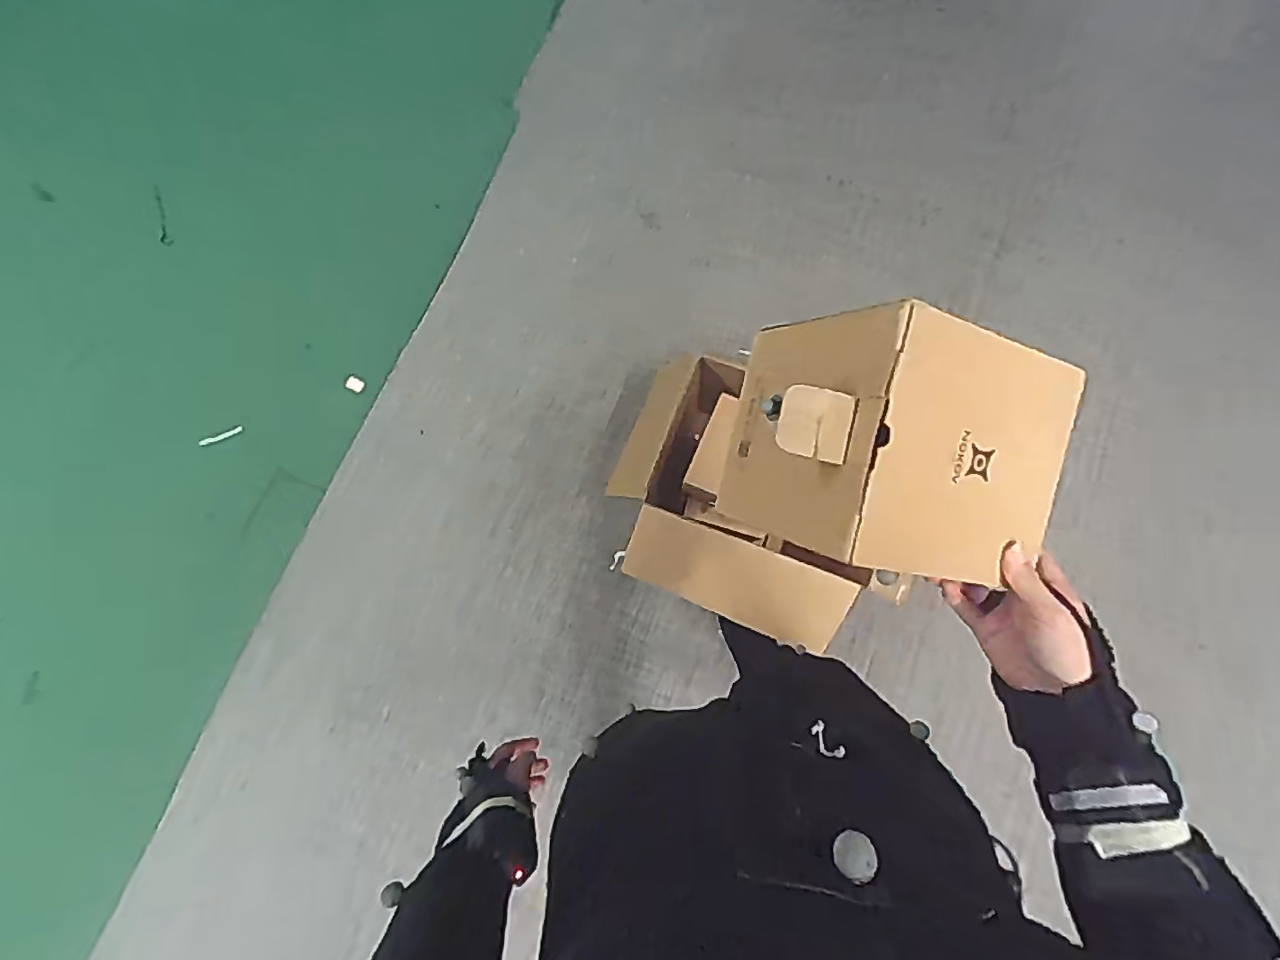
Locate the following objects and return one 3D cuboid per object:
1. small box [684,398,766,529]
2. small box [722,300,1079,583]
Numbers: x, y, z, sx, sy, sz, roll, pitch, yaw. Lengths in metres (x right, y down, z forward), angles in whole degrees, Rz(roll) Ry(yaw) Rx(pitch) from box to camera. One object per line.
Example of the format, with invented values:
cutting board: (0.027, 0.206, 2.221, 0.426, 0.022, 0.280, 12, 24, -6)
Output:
small box: (0.186, -0.023, 1.007, 0.168, 0.176, 0.179, 24, 83, 7)
small box: (0.195, -0.027, 0.439, 0.179, 0.176, 0.168, 11, 92, -22)
